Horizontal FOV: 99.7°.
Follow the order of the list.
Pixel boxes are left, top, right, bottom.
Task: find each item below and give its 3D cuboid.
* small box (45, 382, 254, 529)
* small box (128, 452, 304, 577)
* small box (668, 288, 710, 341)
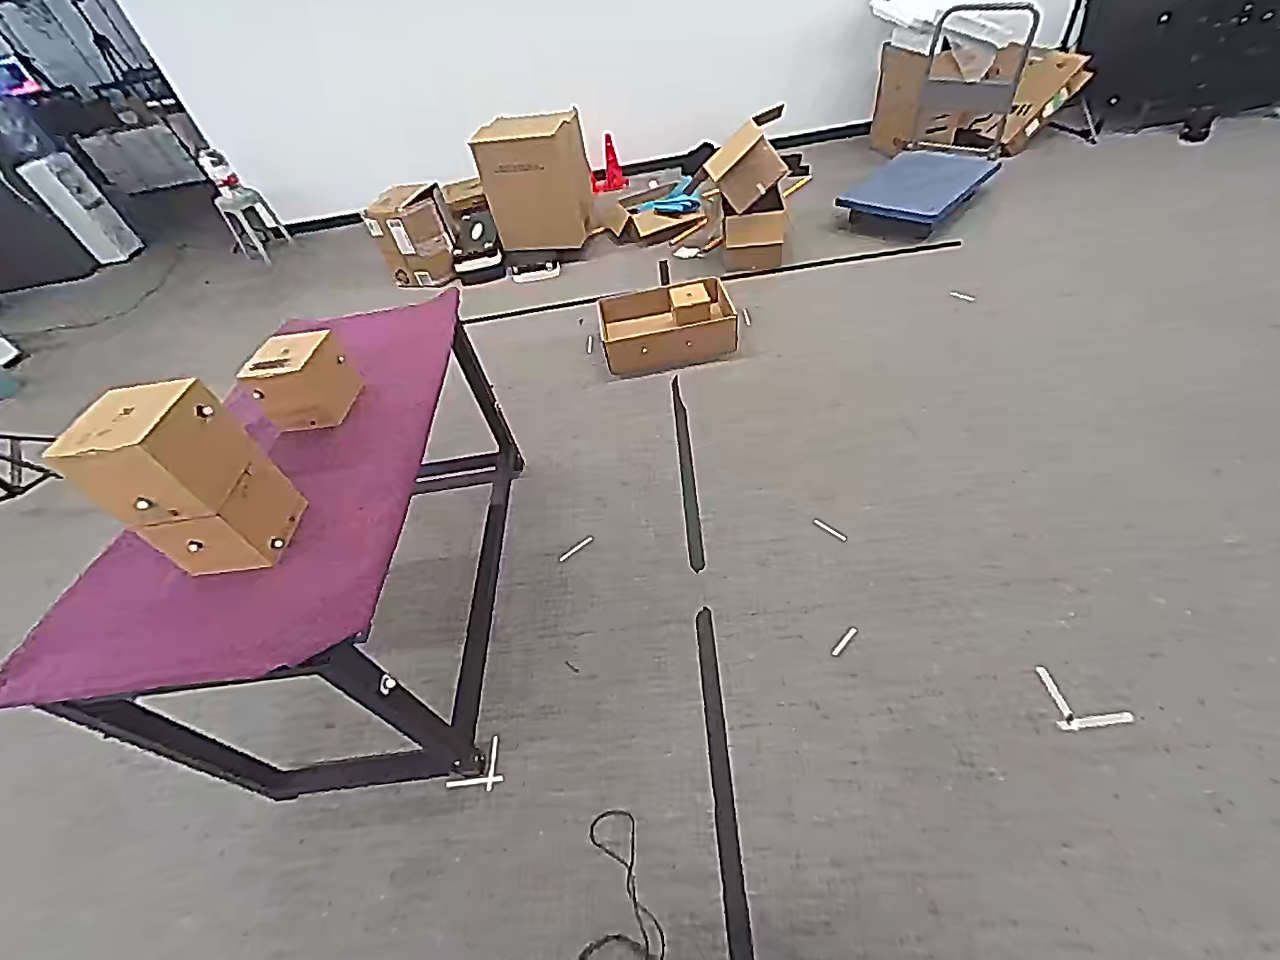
[{"bbox_3d":[-0.813,-0.041,0.926,0.168,0.176,0.179,-8,46,4],"label":"small box"},{"bbox_3d":[-0.799,0.070,1.047,0.179,0.176,0.168,-8,46,4],"label":"small box"},{"bbox_3d":[0.235,-0.792,2.590,0.168,0.176,0.179,-11,46,2],"label":"small box"}]
